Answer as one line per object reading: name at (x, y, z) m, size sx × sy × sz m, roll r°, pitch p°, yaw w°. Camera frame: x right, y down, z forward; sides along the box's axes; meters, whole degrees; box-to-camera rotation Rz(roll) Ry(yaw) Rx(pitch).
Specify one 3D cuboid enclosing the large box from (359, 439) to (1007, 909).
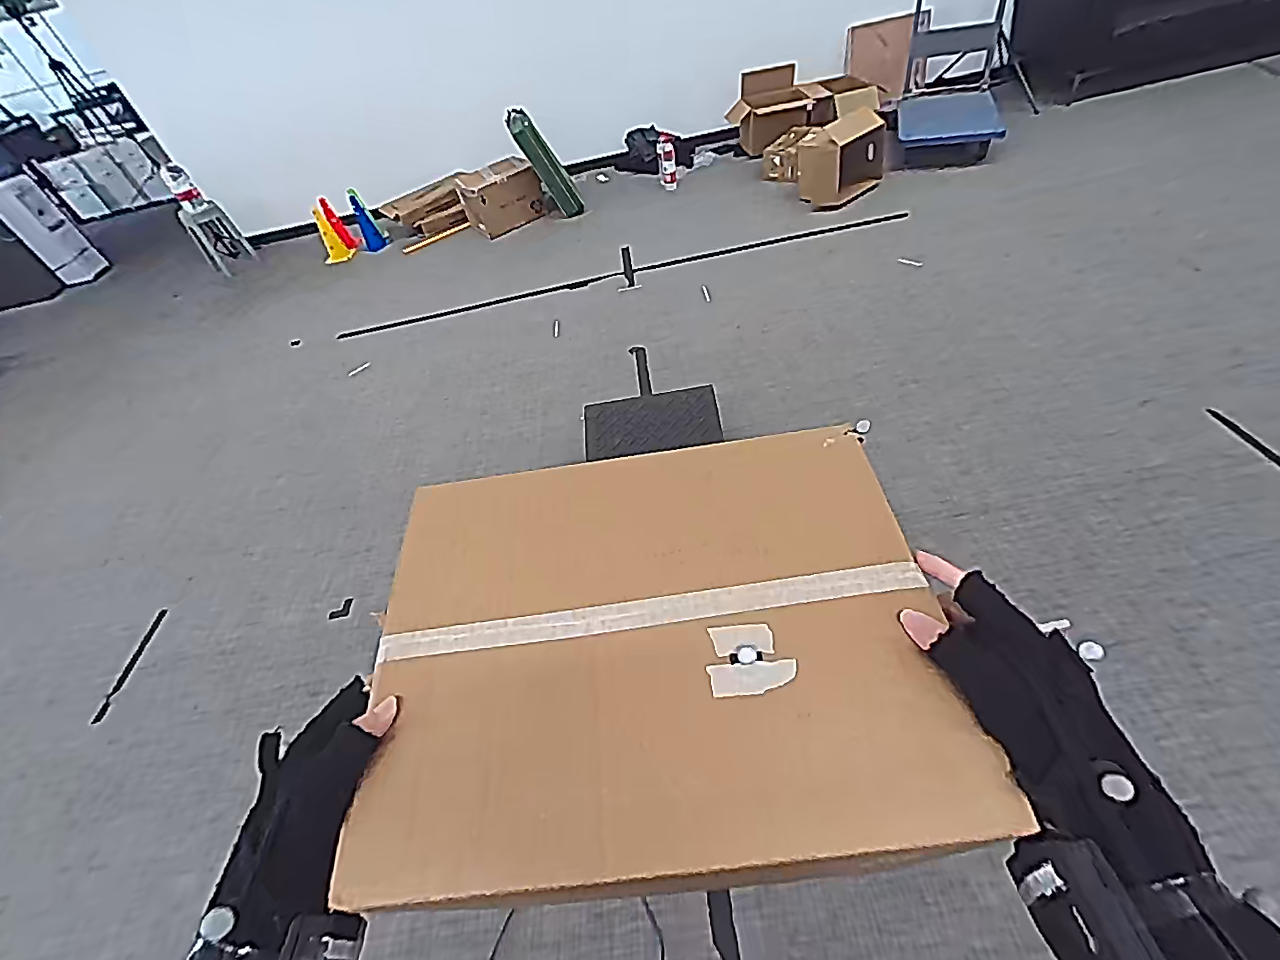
large box at (0.025, 0.201, 0.530) m, size 0.408 × 0.320 × 0.320 m, roll -8°, pitch 51°, yaw 2°
